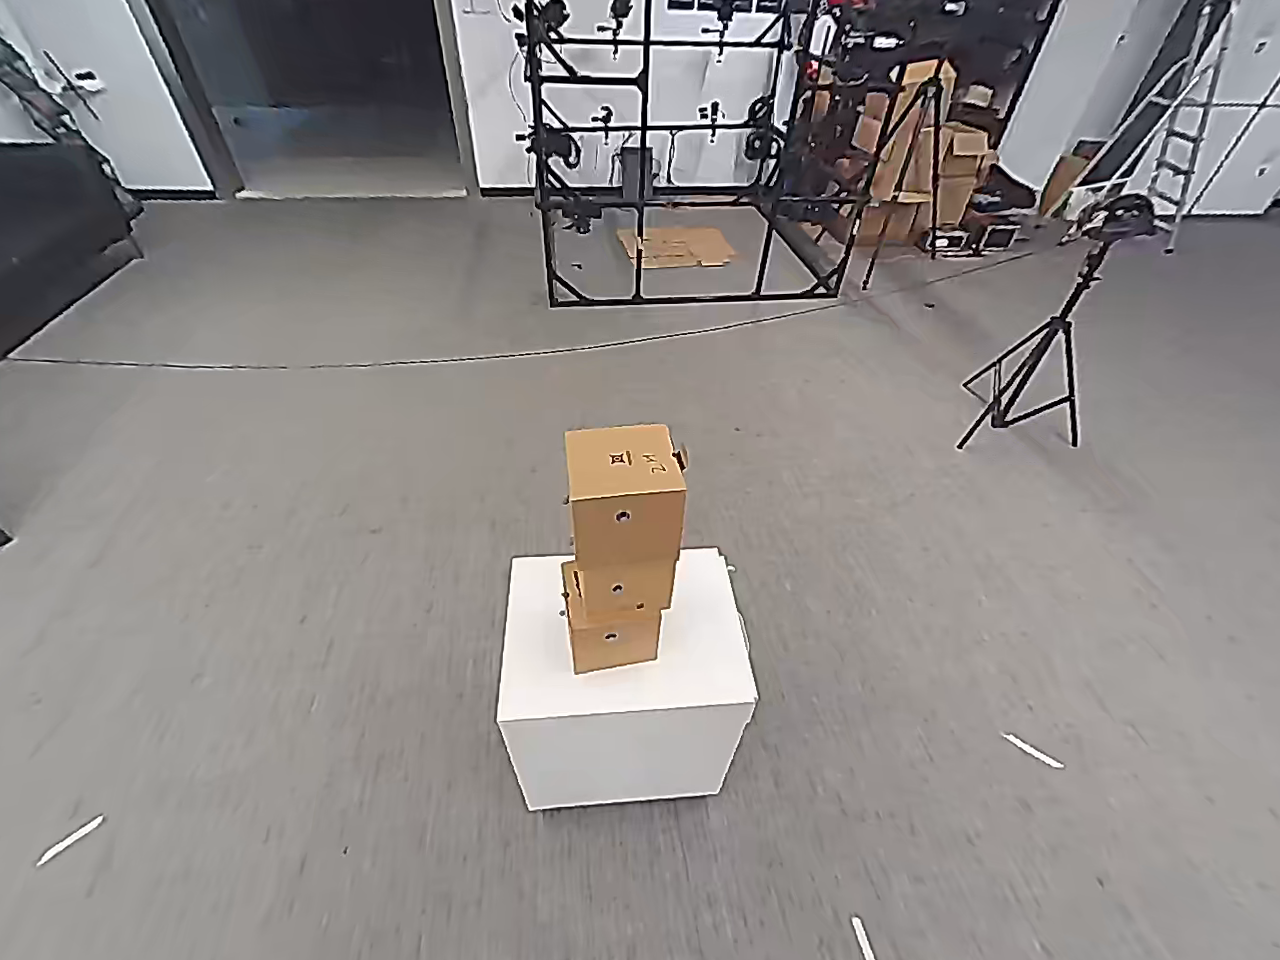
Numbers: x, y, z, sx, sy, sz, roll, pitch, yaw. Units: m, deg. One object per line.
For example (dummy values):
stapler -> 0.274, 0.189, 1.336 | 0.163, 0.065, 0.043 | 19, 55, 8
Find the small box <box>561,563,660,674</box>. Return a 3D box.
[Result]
small box -> -0.063, 0.280, 1.121 | 0.179, 0.176, 0.168 | -6, 44, -11

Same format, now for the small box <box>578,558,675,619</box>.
small box -> -0.035, 0.148, 1.027 | 0.168, 0.176, 0.179 | -6, 43, -10

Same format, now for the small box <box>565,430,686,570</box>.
small box -> -0.029, 0.036, 0.905 | 0.179, 0.176, 0.168 | -4, 43, -8
